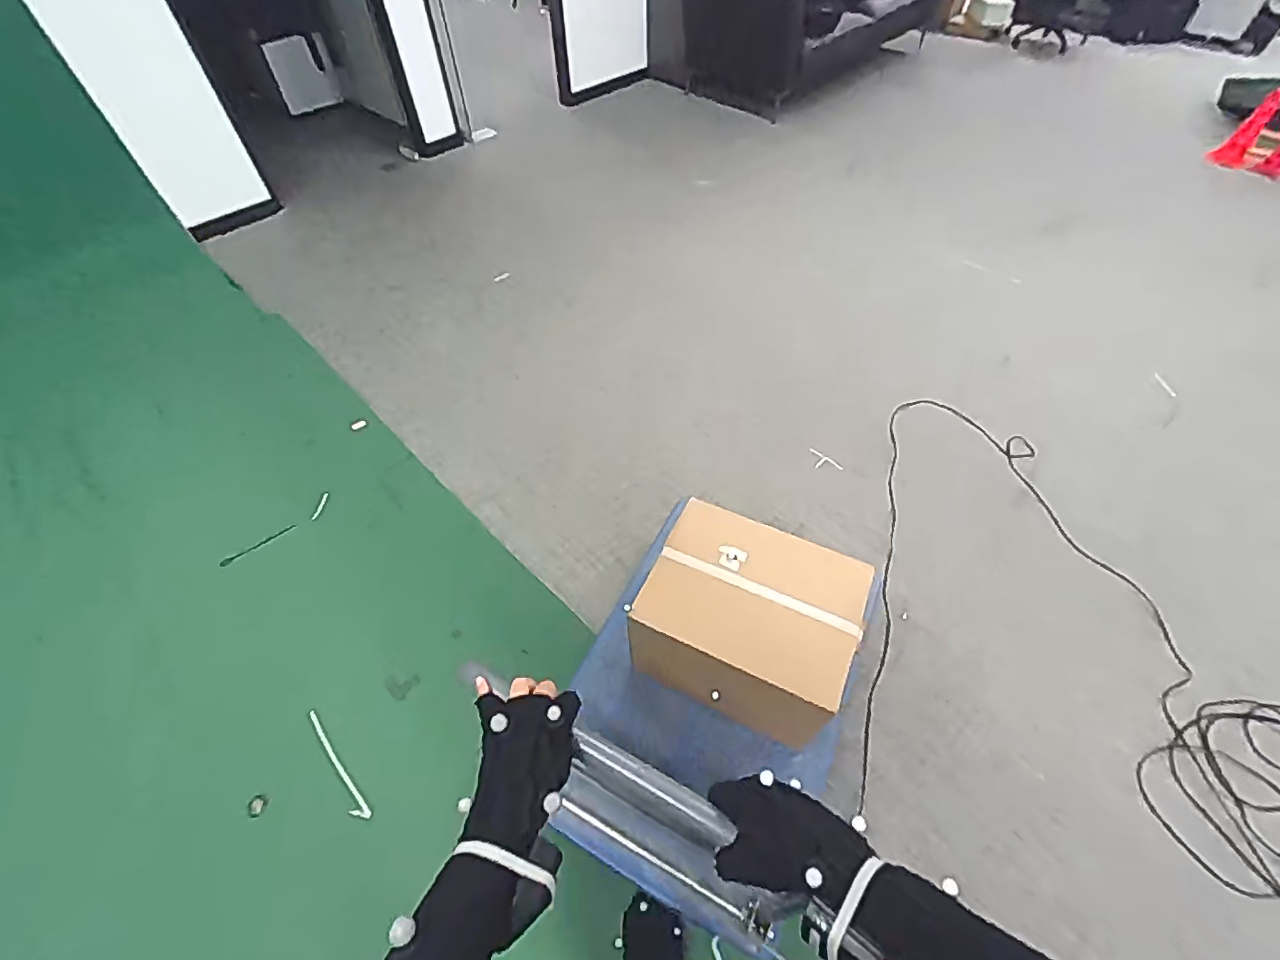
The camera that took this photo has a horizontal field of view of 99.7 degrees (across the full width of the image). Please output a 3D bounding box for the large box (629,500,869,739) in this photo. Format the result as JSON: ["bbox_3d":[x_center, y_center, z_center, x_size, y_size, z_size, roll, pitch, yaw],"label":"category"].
[{"bbox_3d":[0.228,0.305,1.184,0.408,0.320,0.320,20,55,17],"label":"large box"}]
